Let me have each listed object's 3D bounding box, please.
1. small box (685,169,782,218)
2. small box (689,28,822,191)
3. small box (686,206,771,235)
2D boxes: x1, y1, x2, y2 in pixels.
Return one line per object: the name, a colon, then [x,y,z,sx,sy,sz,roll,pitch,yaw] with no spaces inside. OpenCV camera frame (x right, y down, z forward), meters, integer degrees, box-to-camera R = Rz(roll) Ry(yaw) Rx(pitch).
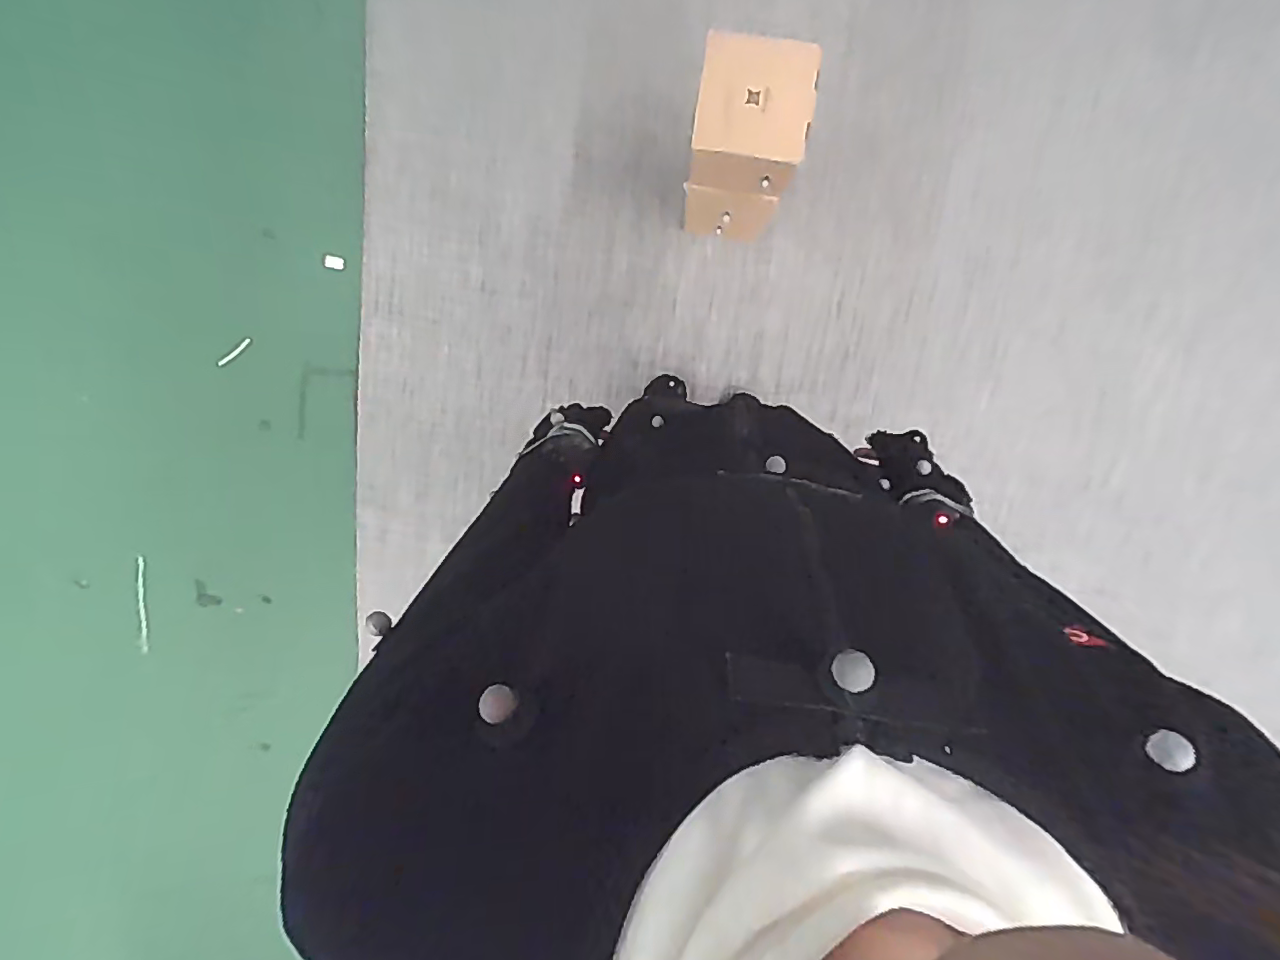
small box: [0.189,-0.629,1.058,0.179,0.176,0.168,10,102,2]
small box: [0.180,-0.599,0.899,0.179,0.176,0.168,8,101,3]
small box: [0.202,-0.660,1.218,0.179,0.176,0.168,6,102,2]
